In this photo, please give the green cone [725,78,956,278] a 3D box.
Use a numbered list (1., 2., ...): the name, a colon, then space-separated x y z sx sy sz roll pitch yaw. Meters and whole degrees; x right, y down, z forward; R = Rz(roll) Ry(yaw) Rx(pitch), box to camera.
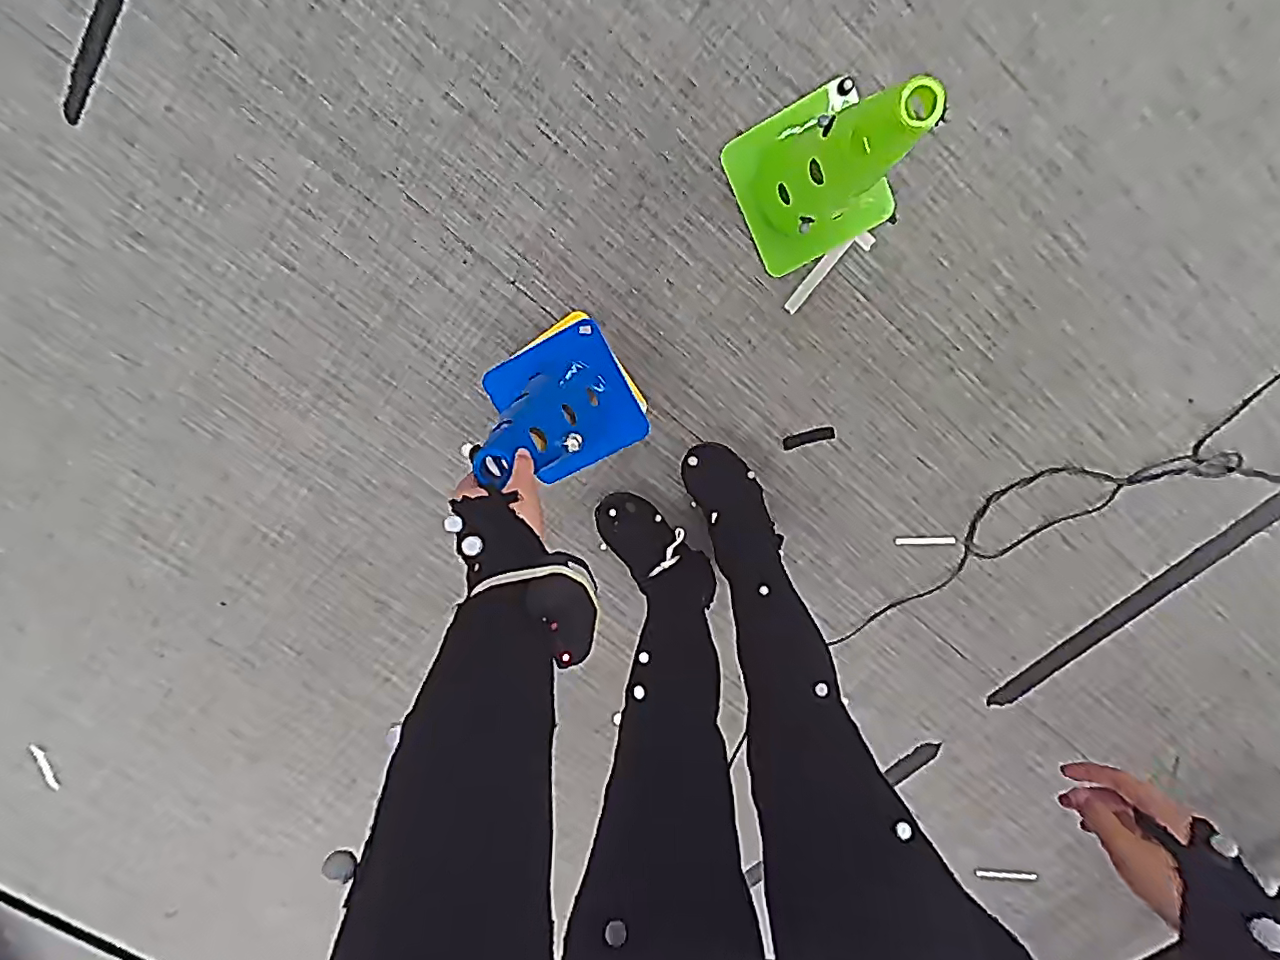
1. green cone: 0.240 -0.365 0.612 0.200 0.368 0.202 -27 107 11
